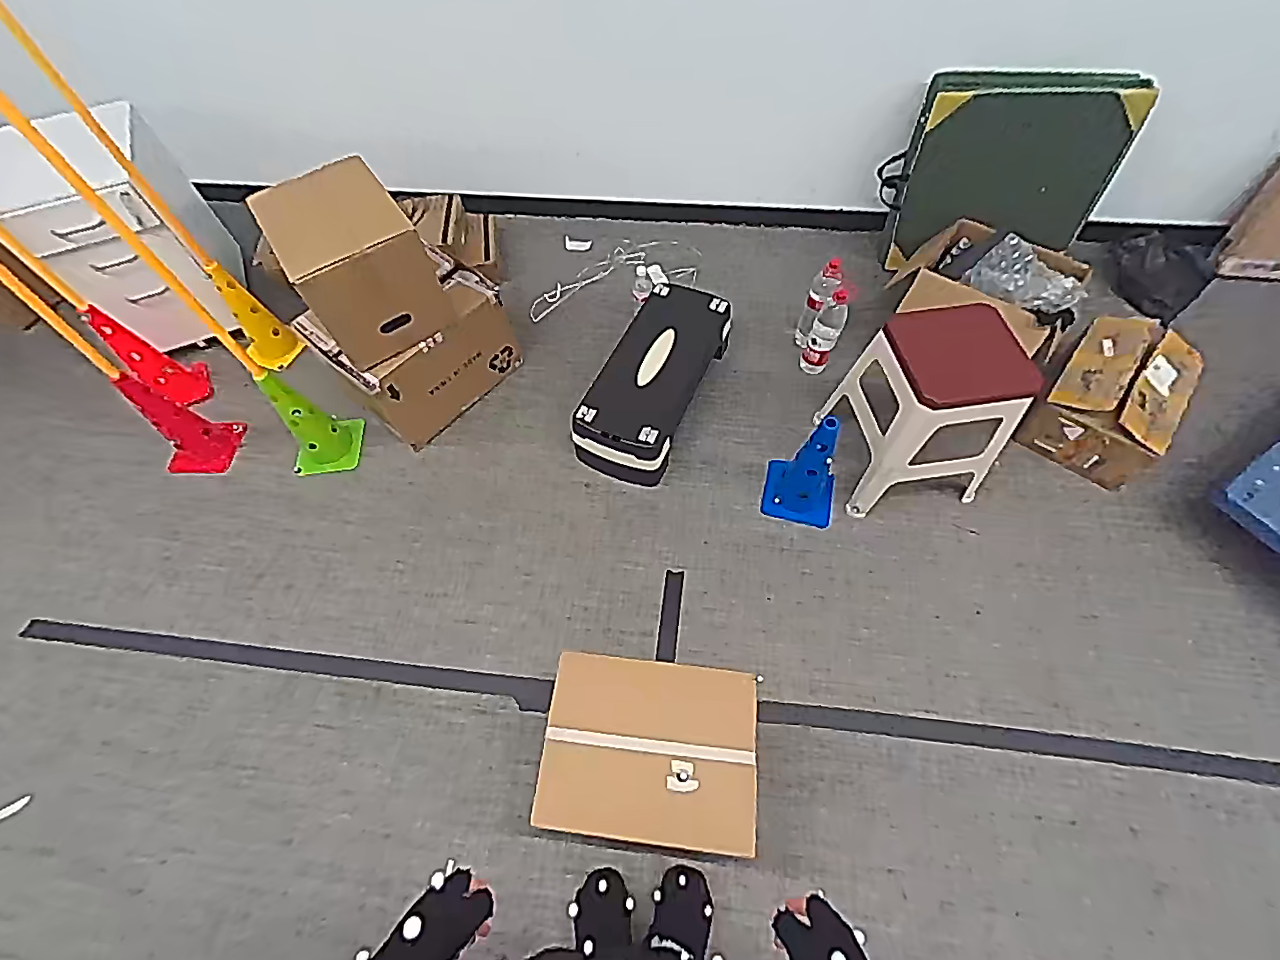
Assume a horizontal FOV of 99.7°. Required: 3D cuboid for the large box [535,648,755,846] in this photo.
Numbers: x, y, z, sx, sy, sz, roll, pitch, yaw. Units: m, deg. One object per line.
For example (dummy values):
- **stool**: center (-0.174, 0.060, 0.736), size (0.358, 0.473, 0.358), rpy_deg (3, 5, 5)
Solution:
- **large box**: center (0.019, 0.574, 1.168), size (0.408, 0.320, 0.320), rpy_deg (6, 61, 4)
